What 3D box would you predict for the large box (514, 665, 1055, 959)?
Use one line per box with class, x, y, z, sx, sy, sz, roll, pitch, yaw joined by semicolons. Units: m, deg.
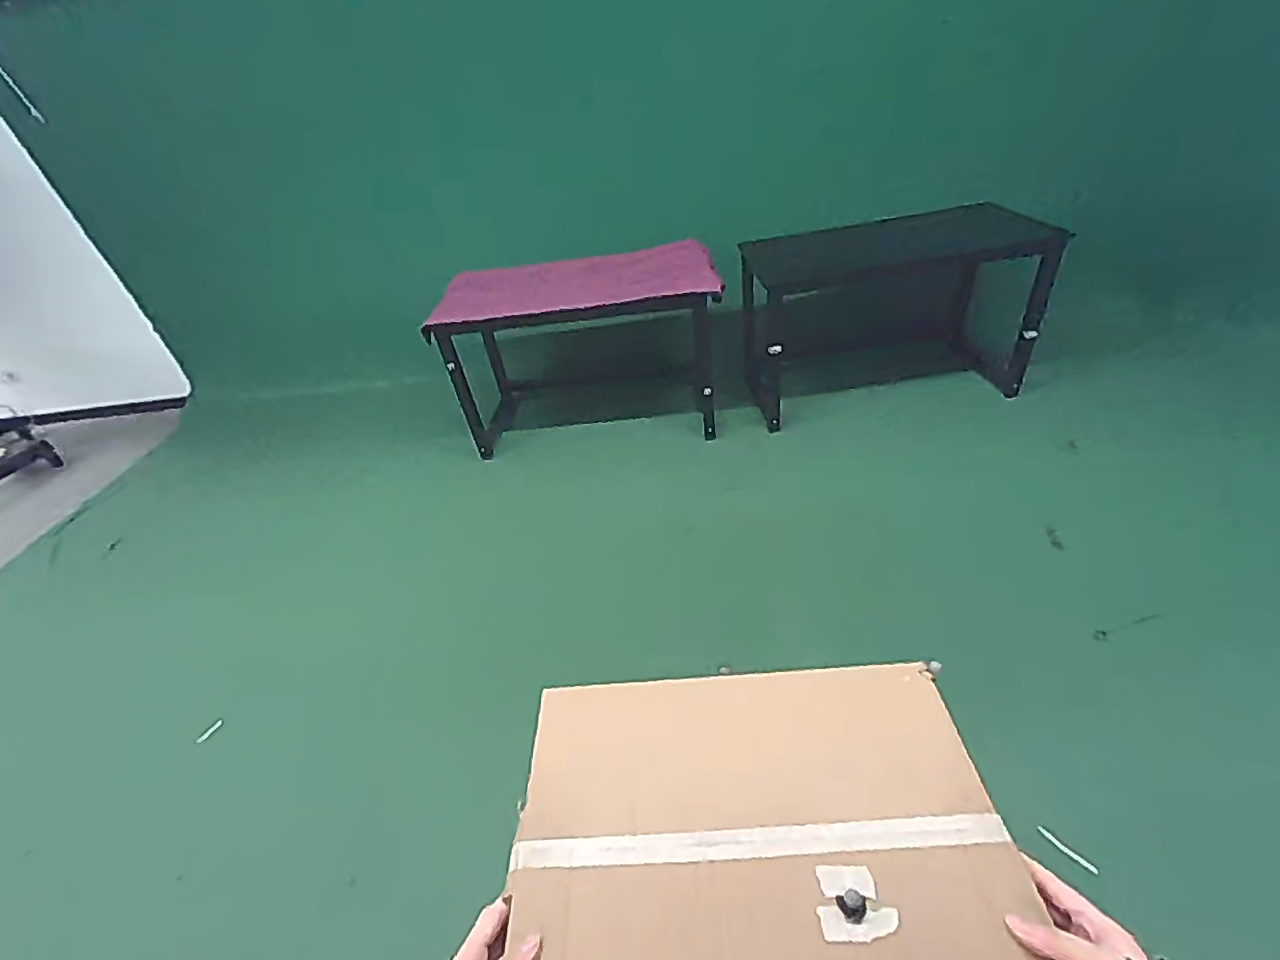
large box;0.111;0.424;0.552;0.408;0.320;0.320;-5;38;3
